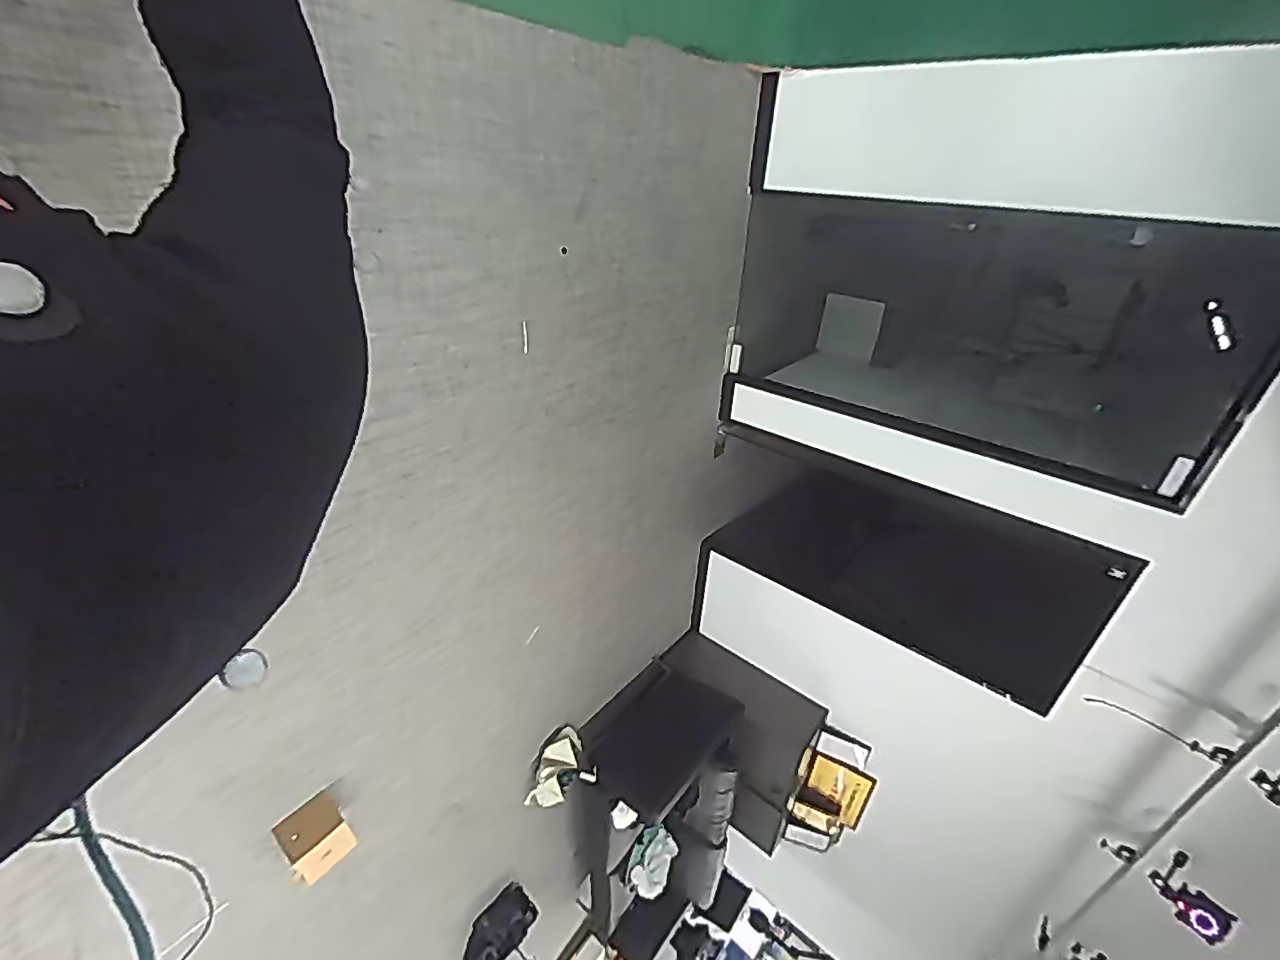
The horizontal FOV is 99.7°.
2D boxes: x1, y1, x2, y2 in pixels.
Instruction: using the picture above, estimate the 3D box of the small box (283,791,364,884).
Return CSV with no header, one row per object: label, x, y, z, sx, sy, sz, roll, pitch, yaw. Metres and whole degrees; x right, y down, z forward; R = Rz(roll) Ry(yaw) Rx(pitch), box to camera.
small box,-1.099,1.232,1.871,0.179,0.176,0.168,-35,137,-40
